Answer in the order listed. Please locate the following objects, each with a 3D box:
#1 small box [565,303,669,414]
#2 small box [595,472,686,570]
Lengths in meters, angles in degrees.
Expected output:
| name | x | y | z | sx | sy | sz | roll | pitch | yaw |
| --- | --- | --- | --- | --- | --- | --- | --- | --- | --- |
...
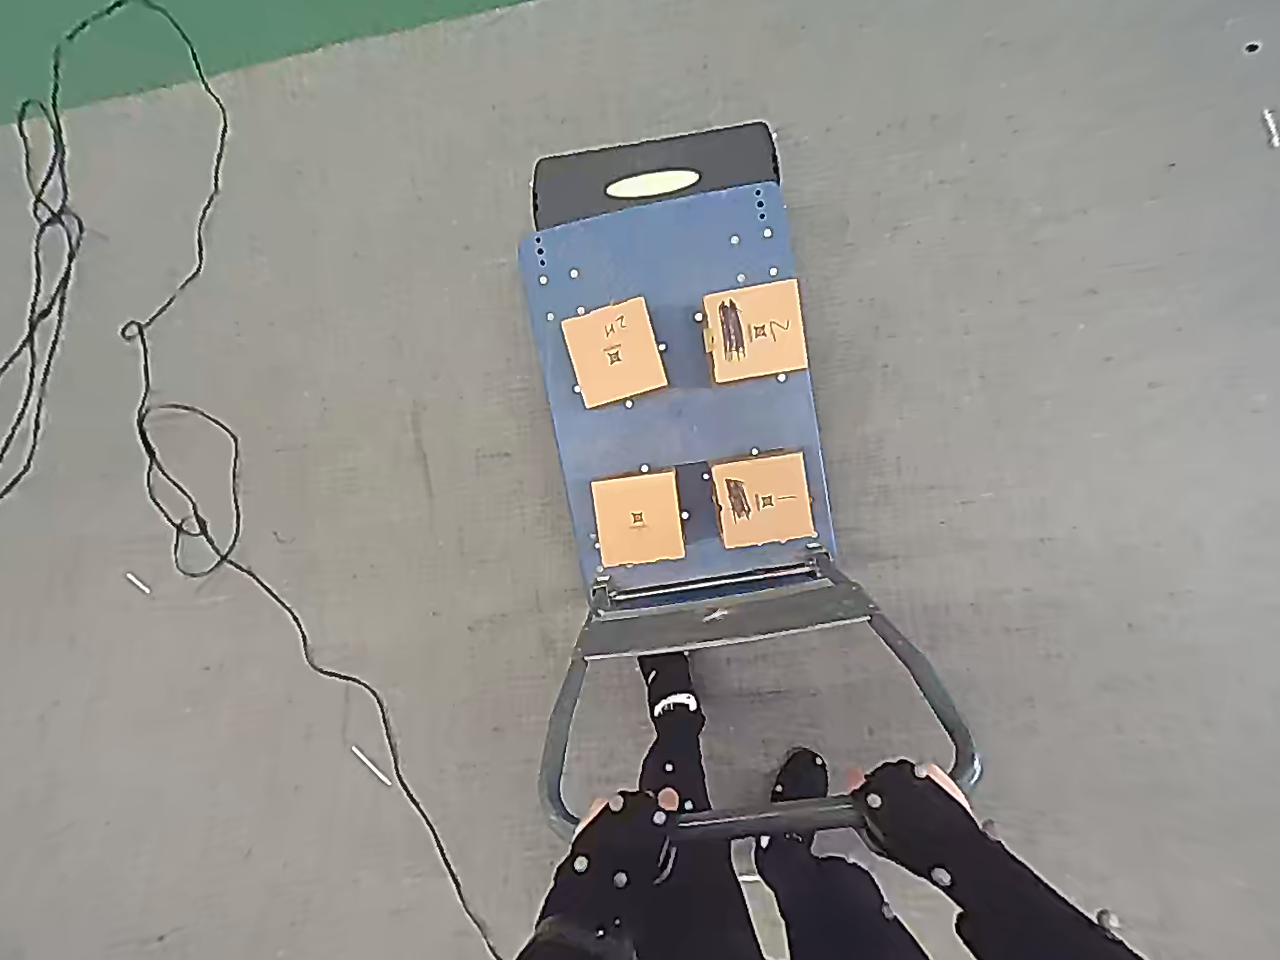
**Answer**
| name | x | y | z | sx | sy | sz | roll | pitch | yaw |
| --- | --- | --- | --- | --- | --- | --- | --- | --- | --- |
| small box | -0.039 | -0.240 | 1.106 | 0.168 | 0.176 | 0.179 | -15 | 94 | 4 |
| small box | 0.004 | 0.078 | 1.136 | 0.168 | 0.176 | 0.179 | -7 | 96 | 4 |
